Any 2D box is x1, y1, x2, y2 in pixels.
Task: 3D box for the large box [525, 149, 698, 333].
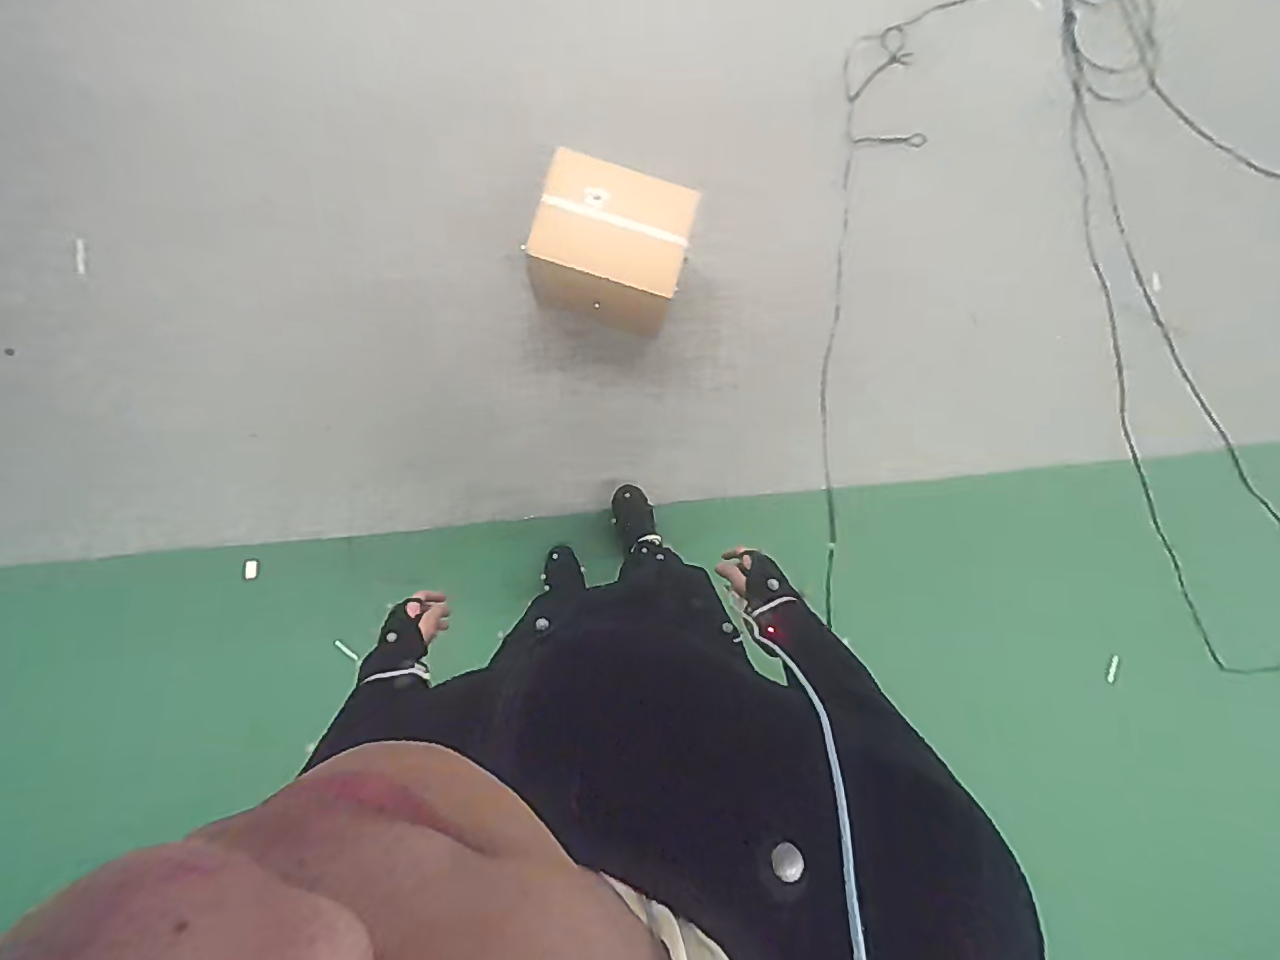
[{"bbox_3d":[-0.080,-0.667,1.571,0.408,0.320,0.320,16,84,-3],"label":"large box"}]
